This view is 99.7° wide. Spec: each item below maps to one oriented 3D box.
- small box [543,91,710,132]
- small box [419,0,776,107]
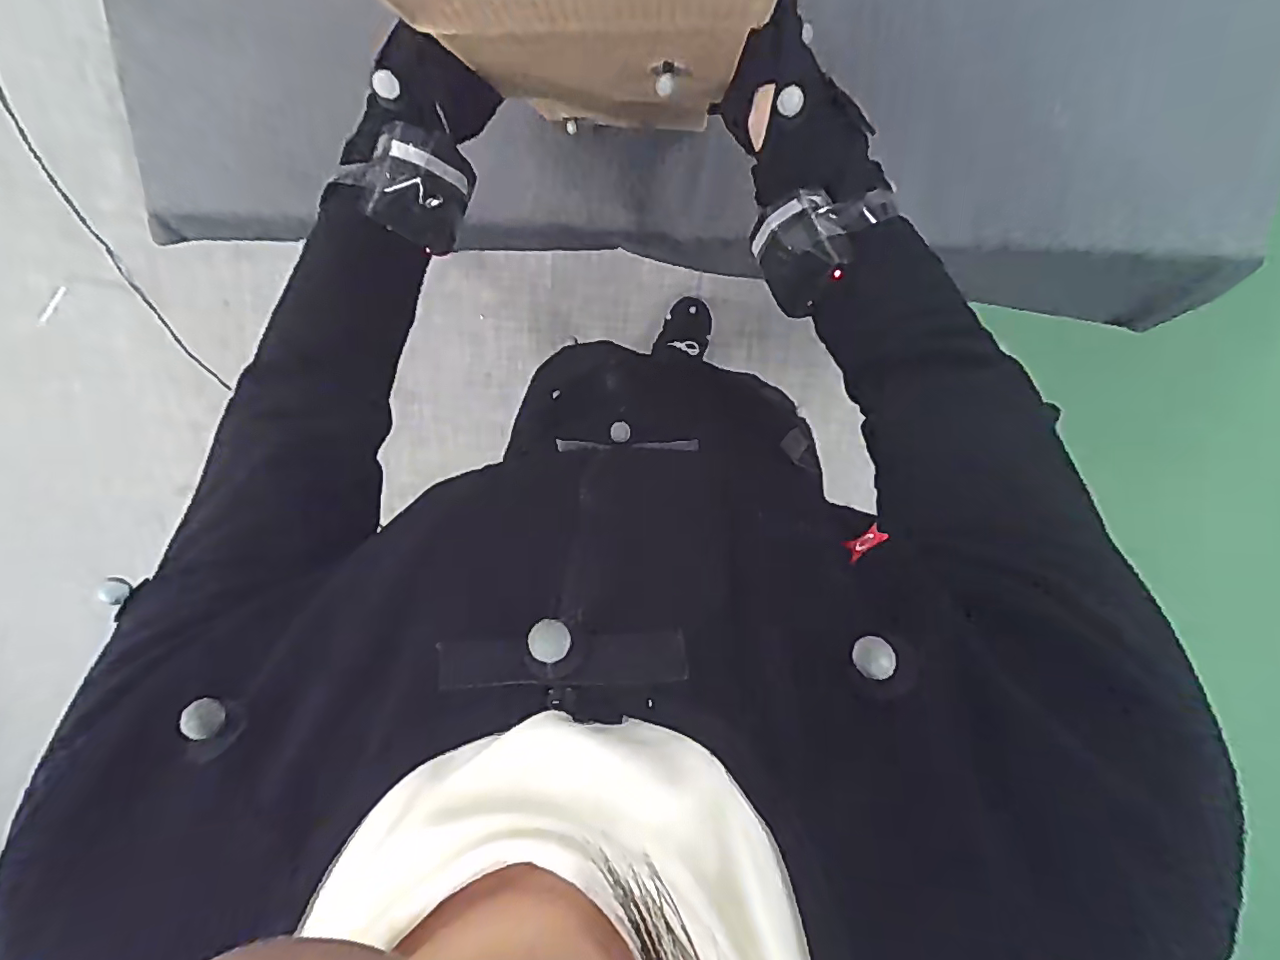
[{"bbox_3d":[-0.013,-0.415,0.461,0.168,0.176,0.179,5,112,1],"label":"small box"},{"bbox_3d":[-0.022,-0.329,0.305,0.179,0.176,0.168,-1,112,3],"label":"small box"}]
